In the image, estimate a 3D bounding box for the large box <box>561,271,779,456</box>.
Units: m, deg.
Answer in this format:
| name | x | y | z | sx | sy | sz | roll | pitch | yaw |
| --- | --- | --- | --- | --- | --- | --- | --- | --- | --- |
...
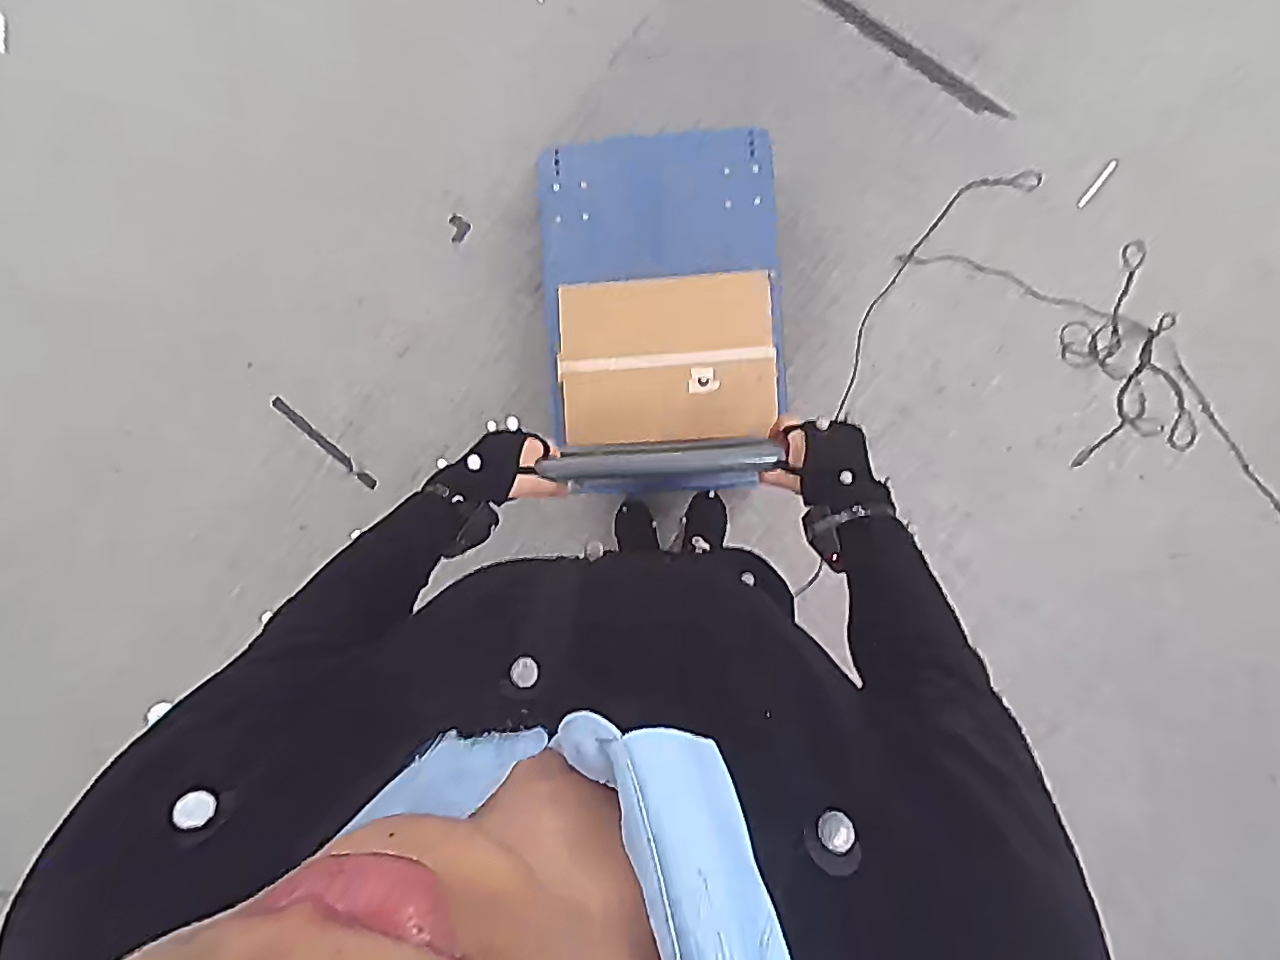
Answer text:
| name | x | y | z | sx | sy | sz | roll | pitch | yaw |
| --- | --- | --- | --- | --- | --- | --- | --- | --- | --- |
| large box | 0.061 | -0.228 | 1.180 | 0.408 | 0.320 | 0.320 | -4 | 90 | 2 |
